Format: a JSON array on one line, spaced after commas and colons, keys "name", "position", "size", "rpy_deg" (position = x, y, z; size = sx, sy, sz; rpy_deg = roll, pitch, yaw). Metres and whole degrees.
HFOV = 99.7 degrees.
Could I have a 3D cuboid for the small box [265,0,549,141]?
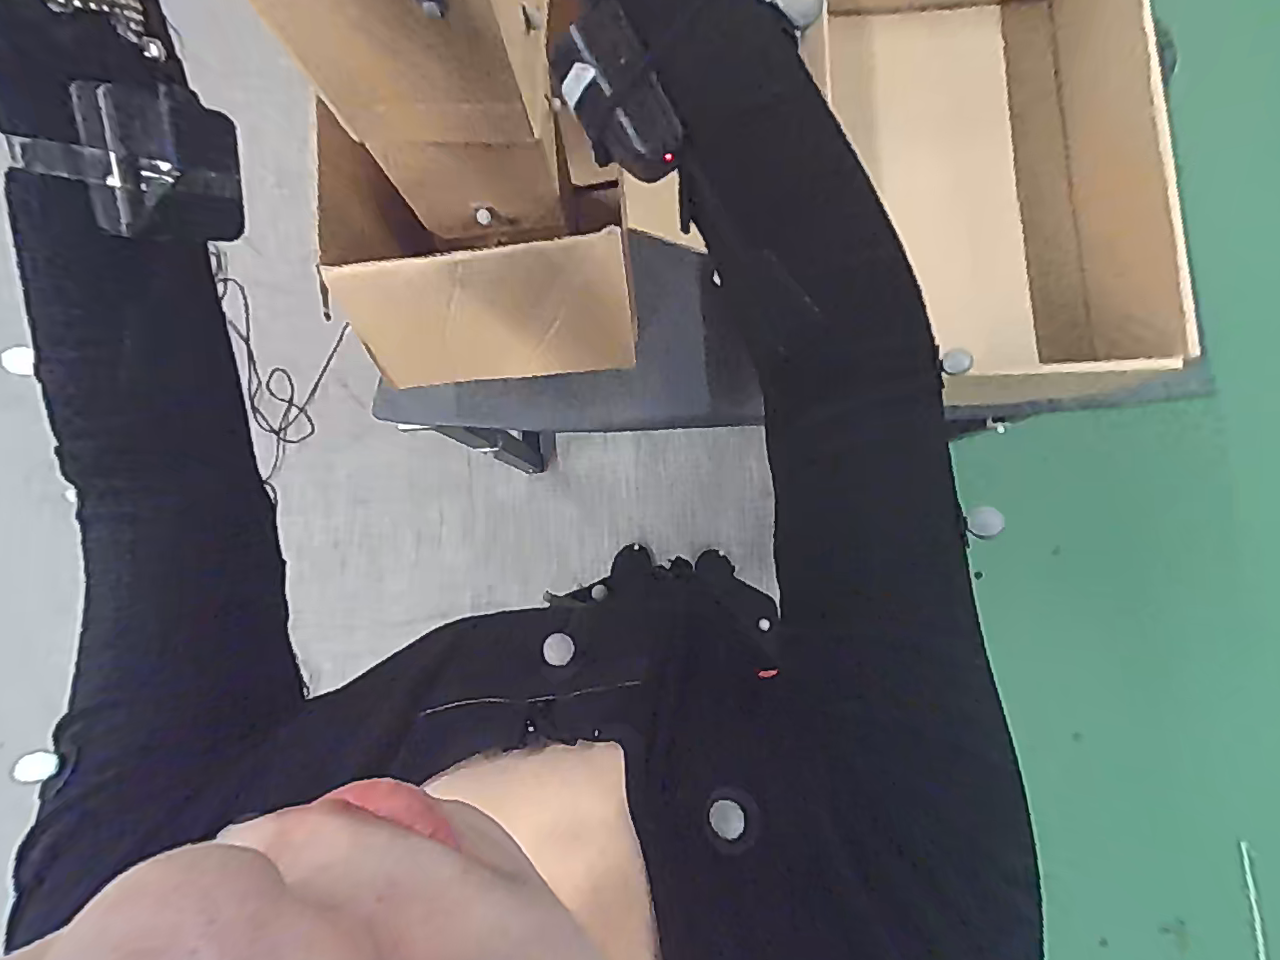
[{"name": "small box", "position": [-0.179, -0.400, 0.425], "size": [0.179, 0.176, 0.168], "rpy_deg": [2, 85, 1]}]
